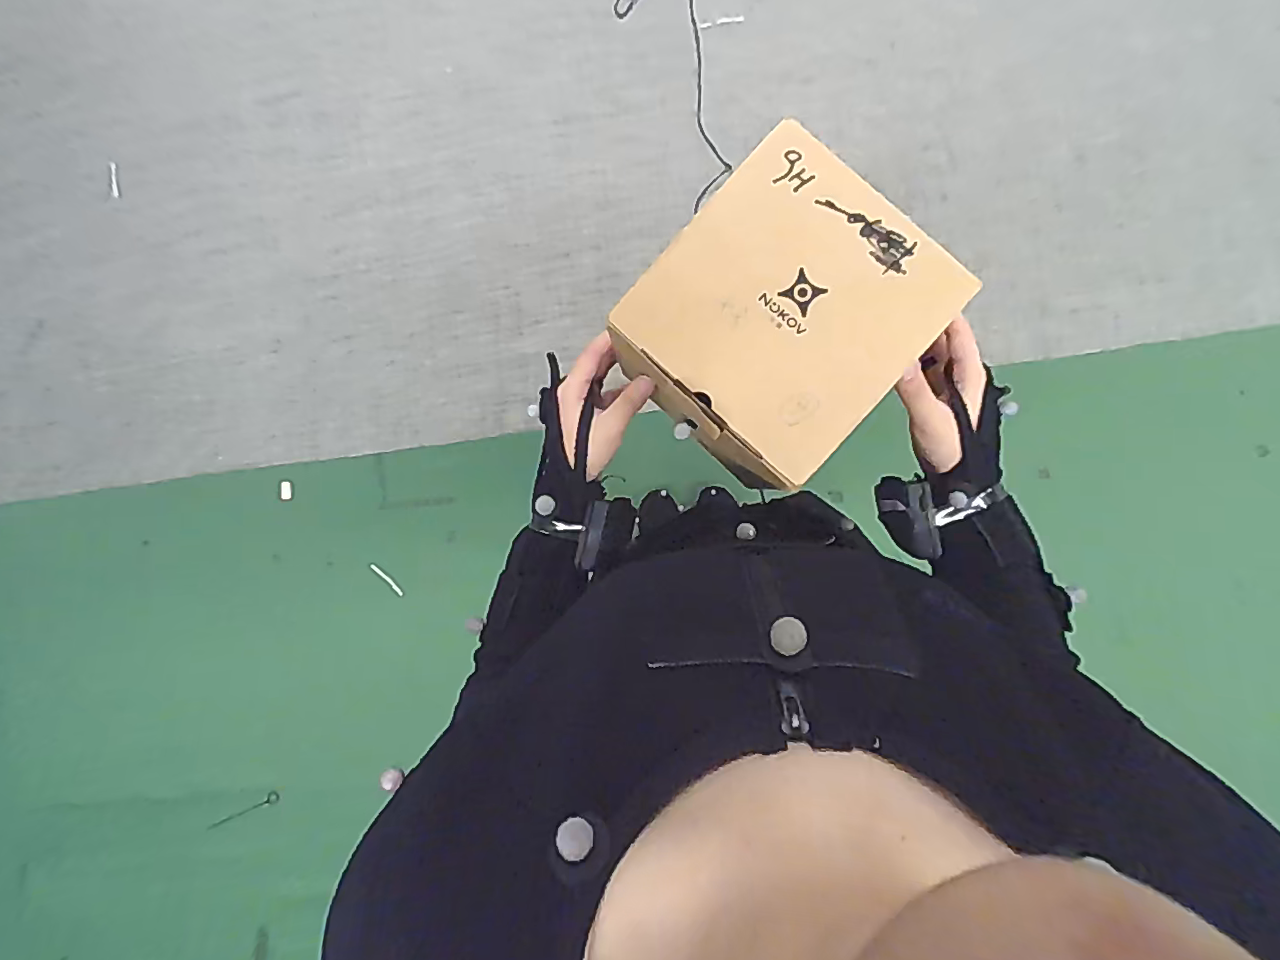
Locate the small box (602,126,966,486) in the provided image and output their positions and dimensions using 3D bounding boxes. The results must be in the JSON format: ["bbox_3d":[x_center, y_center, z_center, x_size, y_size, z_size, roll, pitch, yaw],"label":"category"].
[{"bbox_3d":[0.096,-0.111,0.426,0.168,0.176,0.179,42,92,2],"label":"small box"}]
